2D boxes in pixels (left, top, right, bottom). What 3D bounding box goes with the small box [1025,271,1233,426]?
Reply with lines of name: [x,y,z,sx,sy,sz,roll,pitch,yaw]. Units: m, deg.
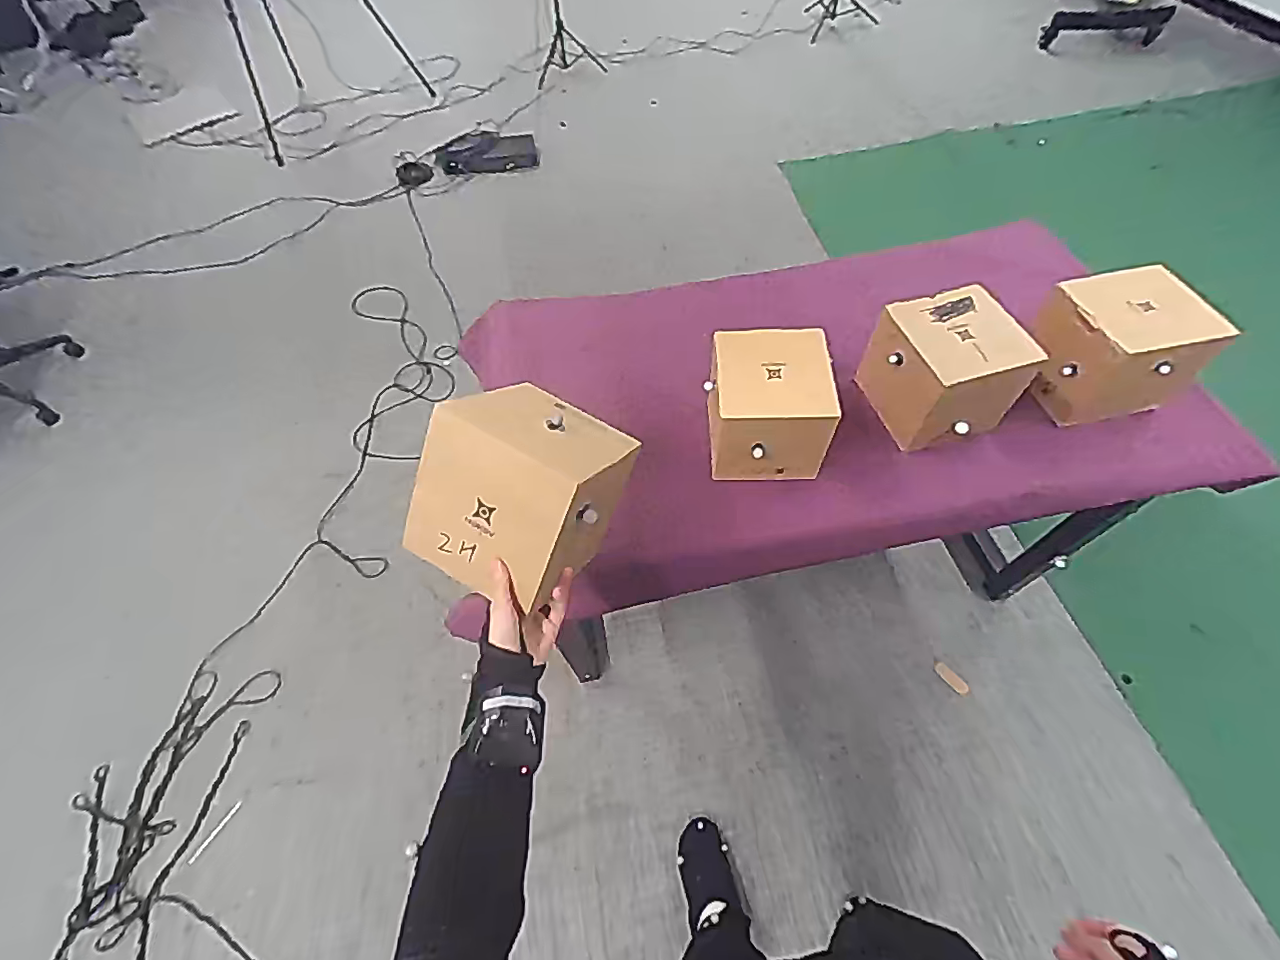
small box: [0.749,-0.205,0.871,0.179,0.176,0.168,-10,56,-2]

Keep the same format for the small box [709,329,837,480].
small box: [0.196,-0.112,0.848,0.168,0.176,0.179,-1,56,4]

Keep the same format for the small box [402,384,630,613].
small box: [-0.128,0.006,0.608,0.168,0.179,0.176,29,24,12]

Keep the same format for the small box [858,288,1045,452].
small box: [0.479,-0.173,0.869,0.168,0.176,0.179,-14,58,-5]
